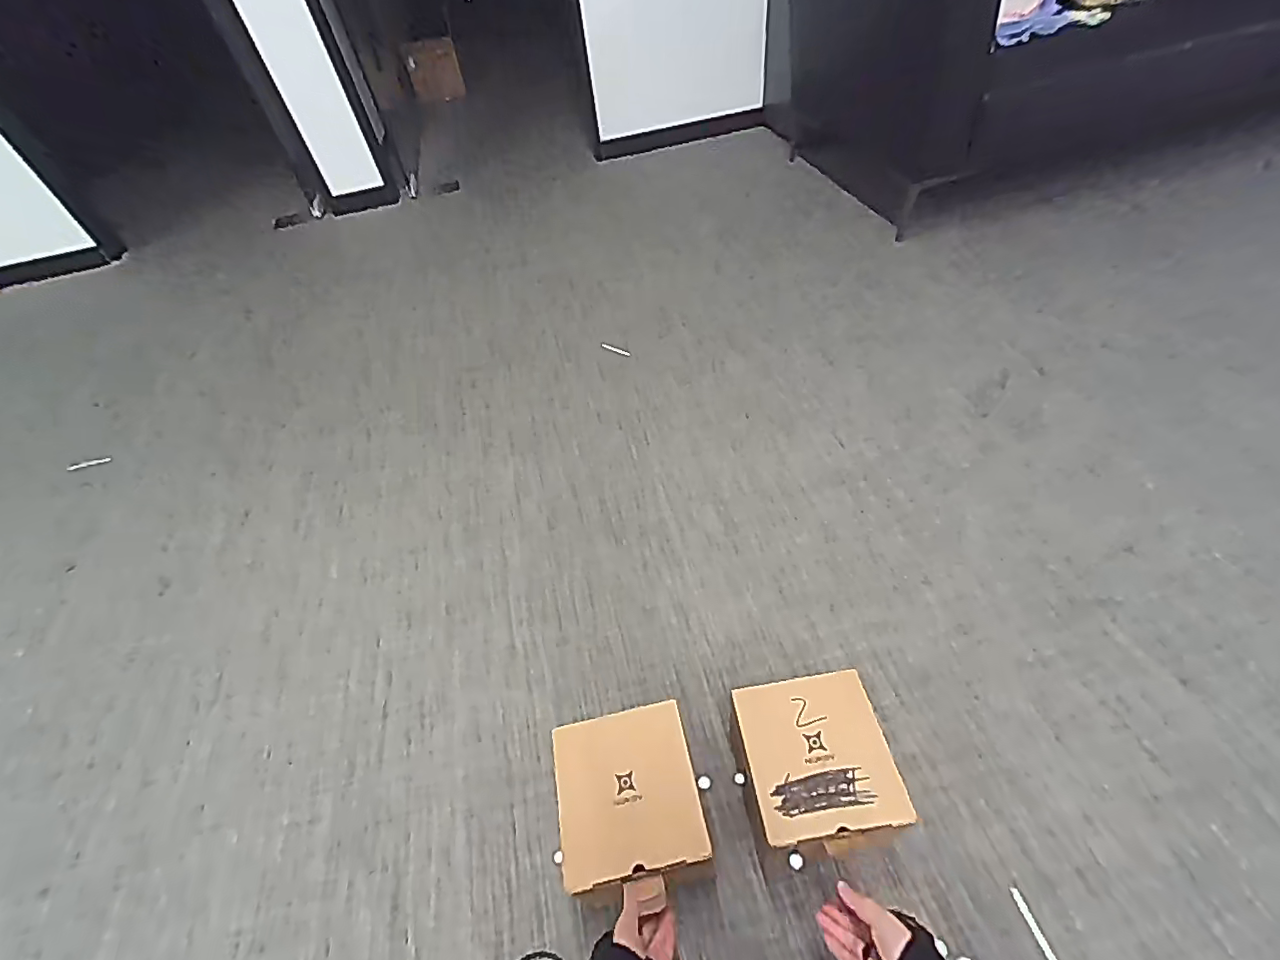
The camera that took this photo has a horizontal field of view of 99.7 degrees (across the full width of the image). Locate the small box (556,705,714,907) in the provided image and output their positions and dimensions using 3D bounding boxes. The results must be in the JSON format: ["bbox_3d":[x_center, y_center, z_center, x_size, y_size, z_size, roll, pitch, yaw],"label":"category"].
[{"bbox_3d":[-0.006,0.423,0.701,0.168,0.176,0.179,-13,49,-2],"label":"small box"}]
